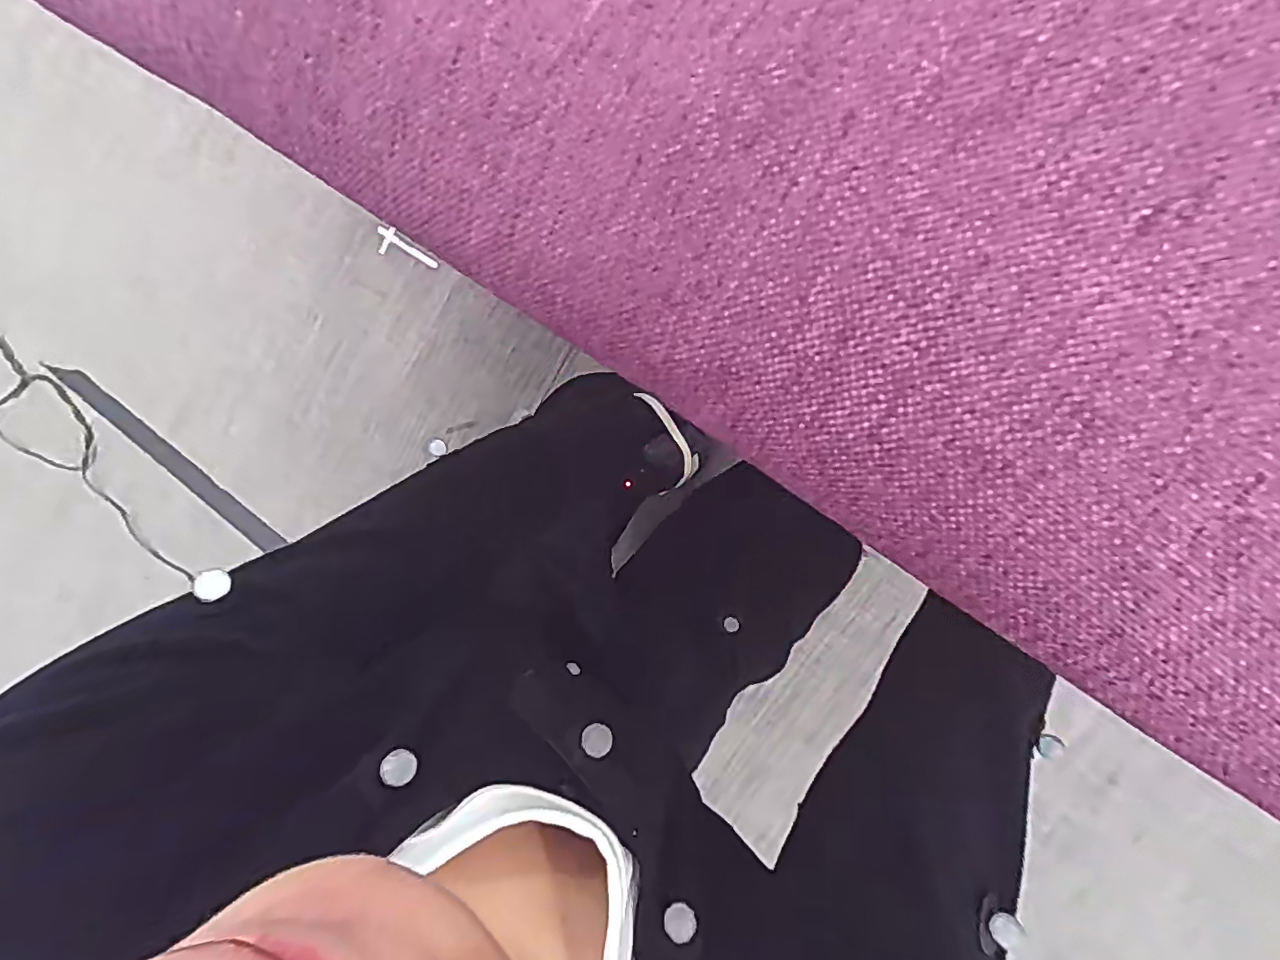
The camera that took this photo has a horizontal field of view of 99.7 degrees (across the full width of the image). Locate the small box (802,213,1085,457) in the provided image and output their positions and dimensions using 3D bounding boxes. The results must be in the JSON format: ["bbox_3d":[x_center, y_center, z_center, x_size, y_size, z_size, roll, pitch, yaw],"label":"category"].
[{"bbox_3d":[0.287,-0.133,0.567,0.179,0.176,0.168,35,99,10],"label":"small box"}]
